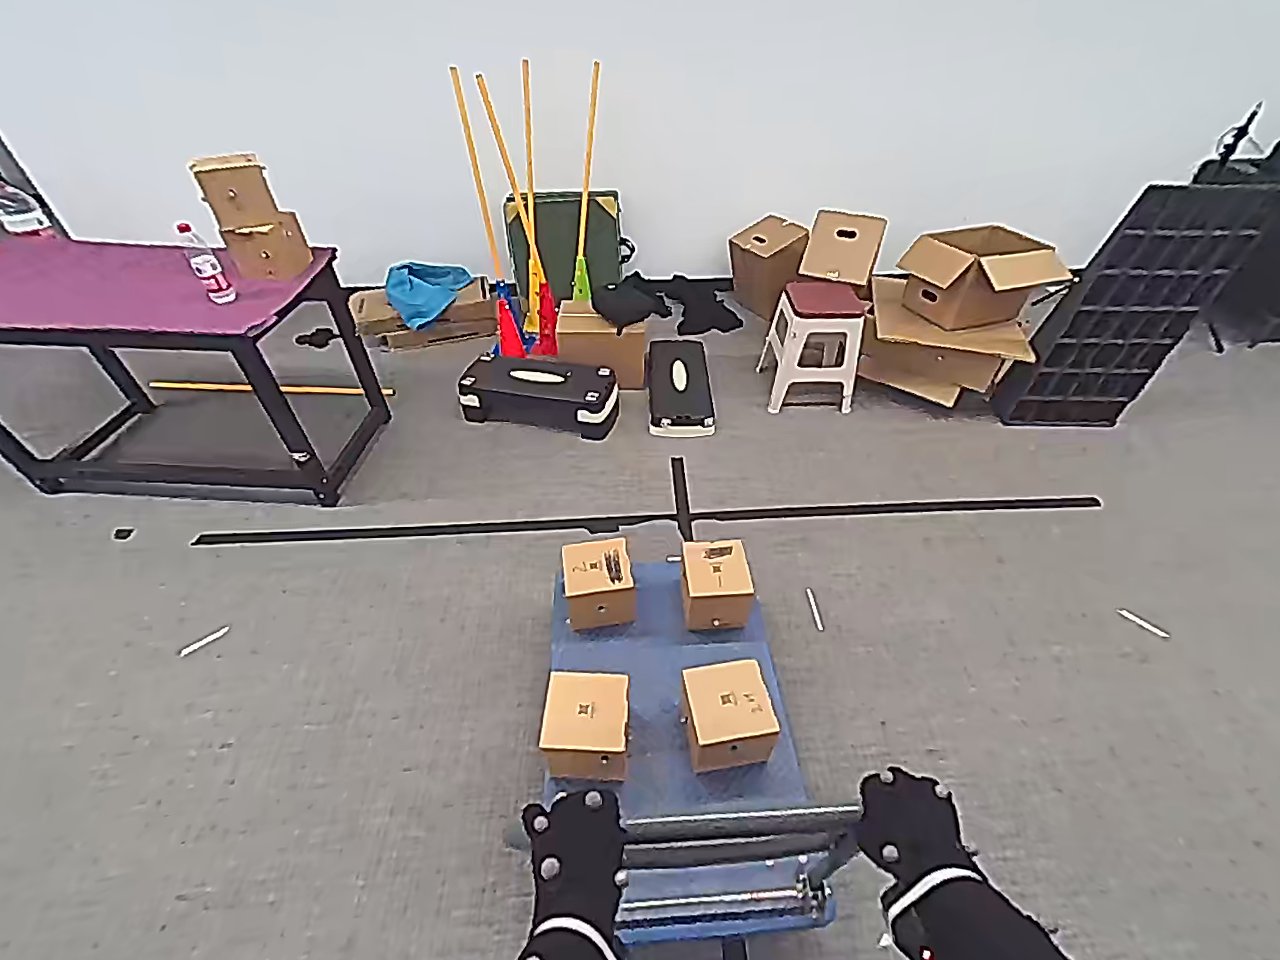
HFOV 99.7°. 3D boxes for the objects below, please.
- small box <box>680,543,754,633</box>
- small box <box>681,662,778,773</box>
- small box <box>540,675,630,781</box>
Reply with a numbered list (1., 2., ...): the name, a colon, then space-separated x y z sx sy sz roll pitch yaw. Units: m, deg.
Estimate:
1. small box: 0.201 0.294 1.472 0.168 0.176 0.179 -3 45 -2
2. small box: 0.192 0.537 1.218 0.179 0.176 0.168 -6 44 -6
3. small box: -0.115 0.553 1.202 0.179 0.176 0.168 2 43 0
